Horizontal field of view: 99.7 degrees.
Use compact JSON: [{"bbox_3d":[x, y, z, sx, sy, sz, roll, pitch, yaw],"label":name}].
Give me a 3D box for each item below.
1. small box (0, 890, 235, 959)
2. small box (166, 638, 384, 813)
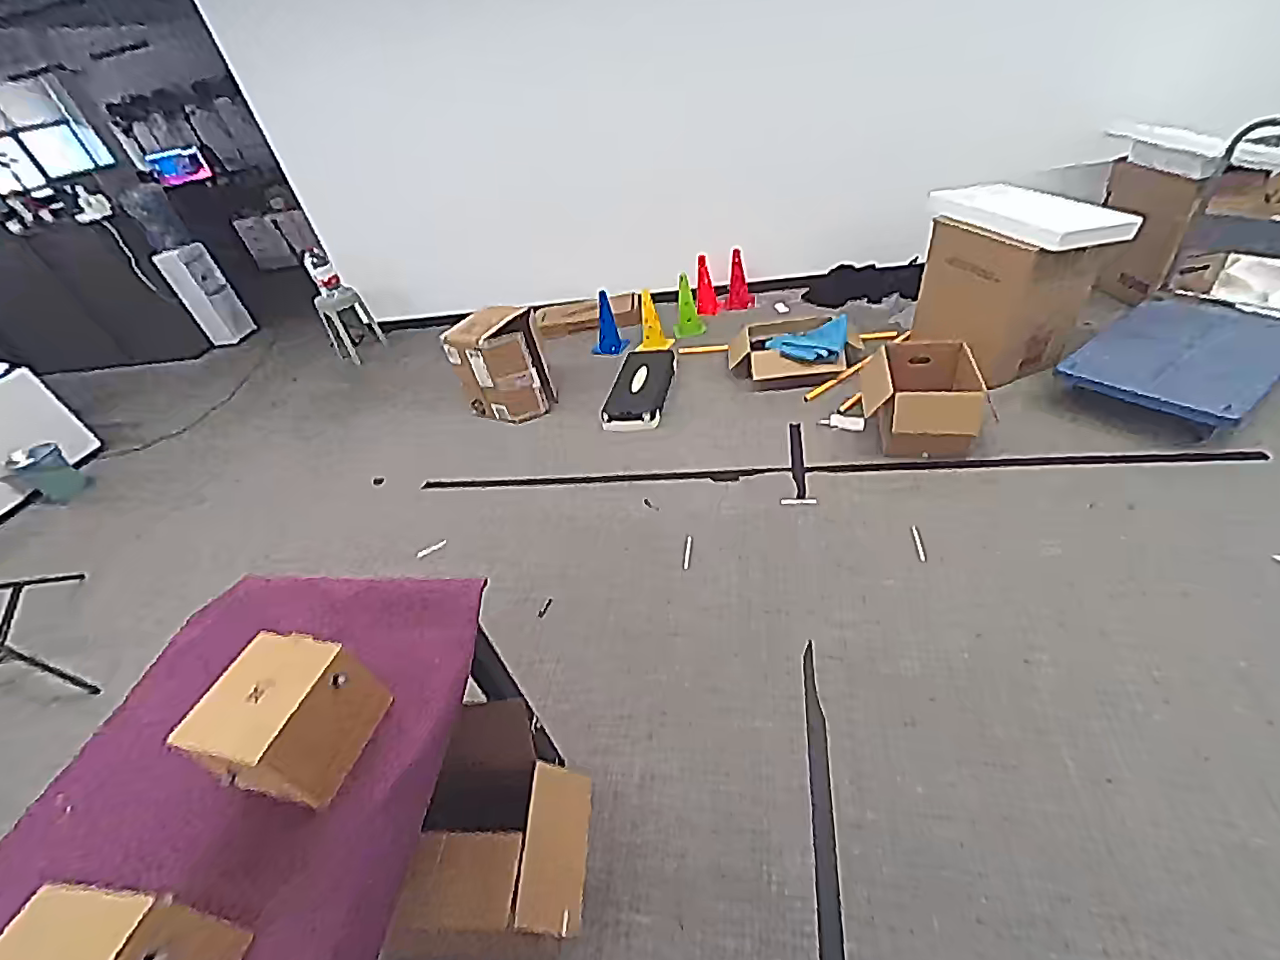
[{"bbox_3d":[-0.583,0.570,0.572,0.168,0.176,0.179,-5,39,13],"label":"small box"},{"bbox_3d":[-0.523,0.365,0.807,0.168,0.176,0.179,1,41,17],"label":"small box"}]
